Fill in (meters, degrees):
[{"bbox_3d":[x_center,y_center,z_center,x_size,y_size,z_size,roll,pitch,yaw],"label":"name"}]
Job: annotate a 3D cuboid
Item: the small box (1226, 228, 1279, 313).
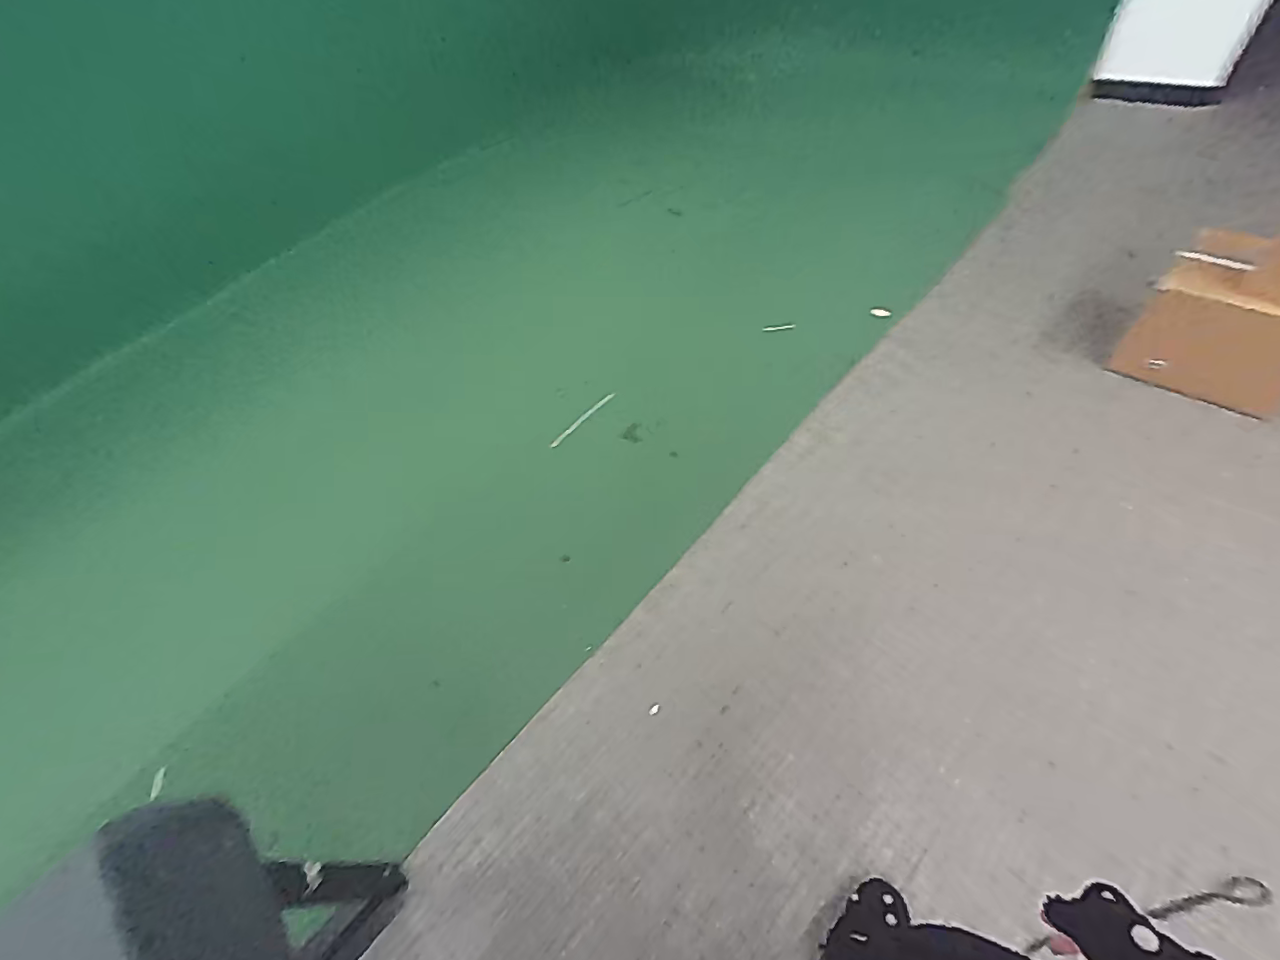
[{"bbox_3d":[1.600,-0.525,1.304,0.168,0.176,0.179,-40,58,-14],"label":"small box"}]
